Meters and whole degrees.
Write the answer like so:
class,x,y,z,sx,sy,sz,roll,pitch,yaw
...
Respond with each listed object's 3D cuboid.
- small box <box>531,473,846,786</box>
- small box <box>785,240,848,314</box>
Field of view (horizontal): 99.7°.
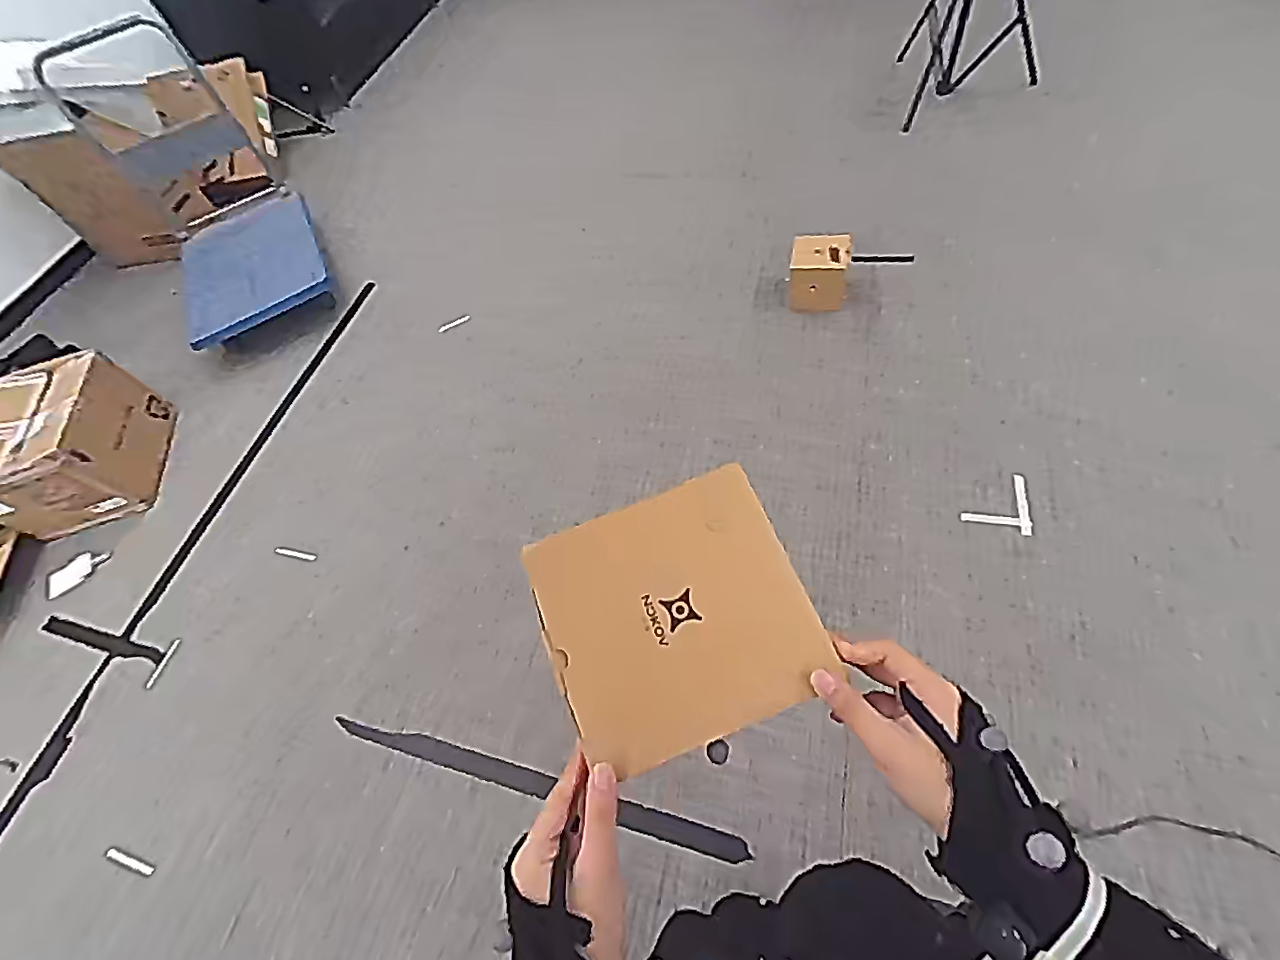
class,x,y,z,sx,sy,sz,roll,pitch,yaw
small box,0.034,0.120,0.448,0.179,0.176,0.168,-22,69,-2
small box,0.590,-0.678,1.815,0.179,0.176,0.168,7,61,17
